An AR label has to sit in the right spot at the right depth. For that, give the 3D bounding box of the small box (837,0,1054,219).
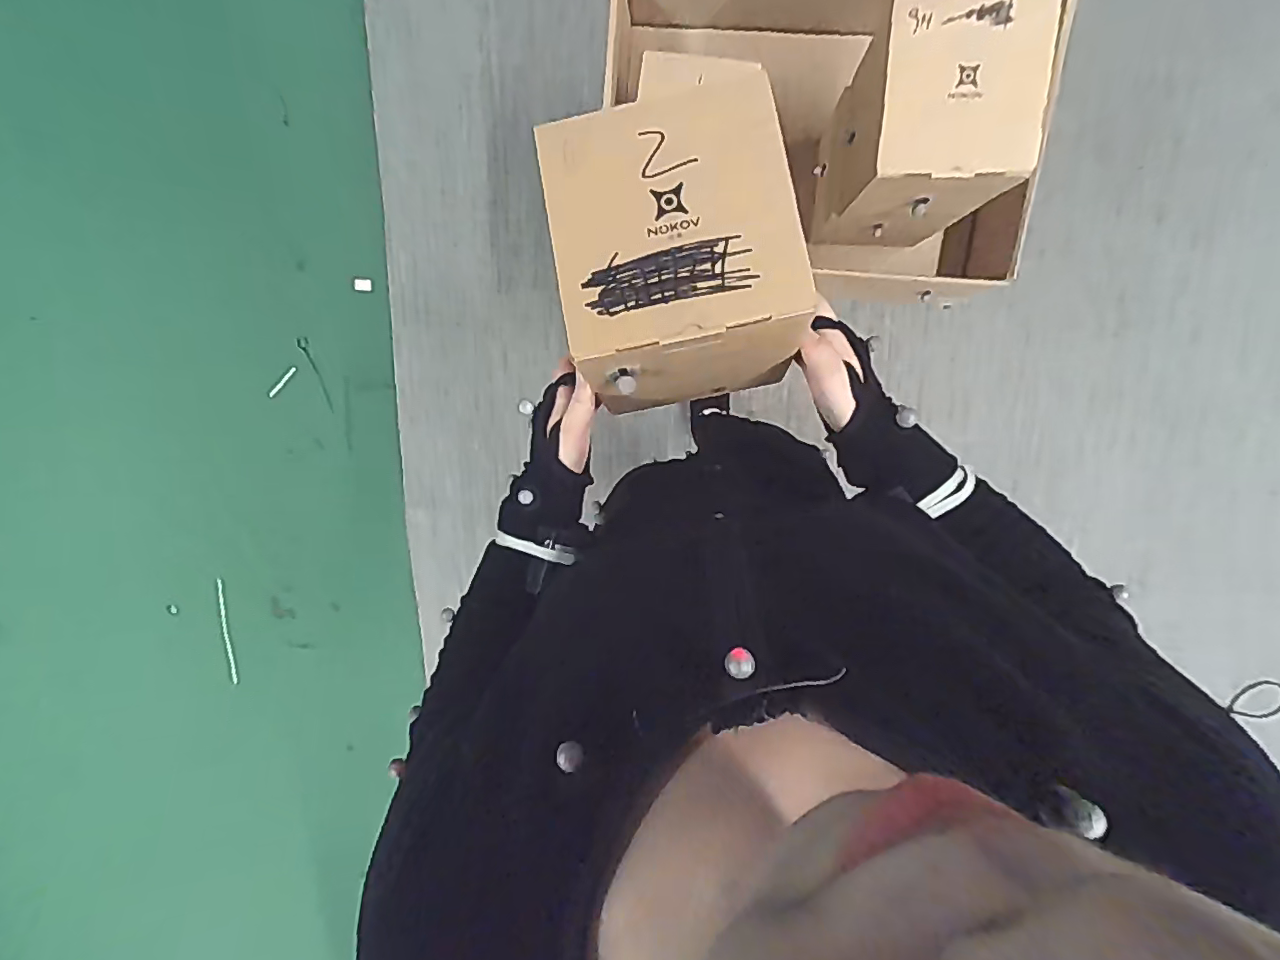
[{"bbox_3d":[0.346,-0.426,0.653,0.168,0.176,0.179,3,102,5],"label":"small box"}]
